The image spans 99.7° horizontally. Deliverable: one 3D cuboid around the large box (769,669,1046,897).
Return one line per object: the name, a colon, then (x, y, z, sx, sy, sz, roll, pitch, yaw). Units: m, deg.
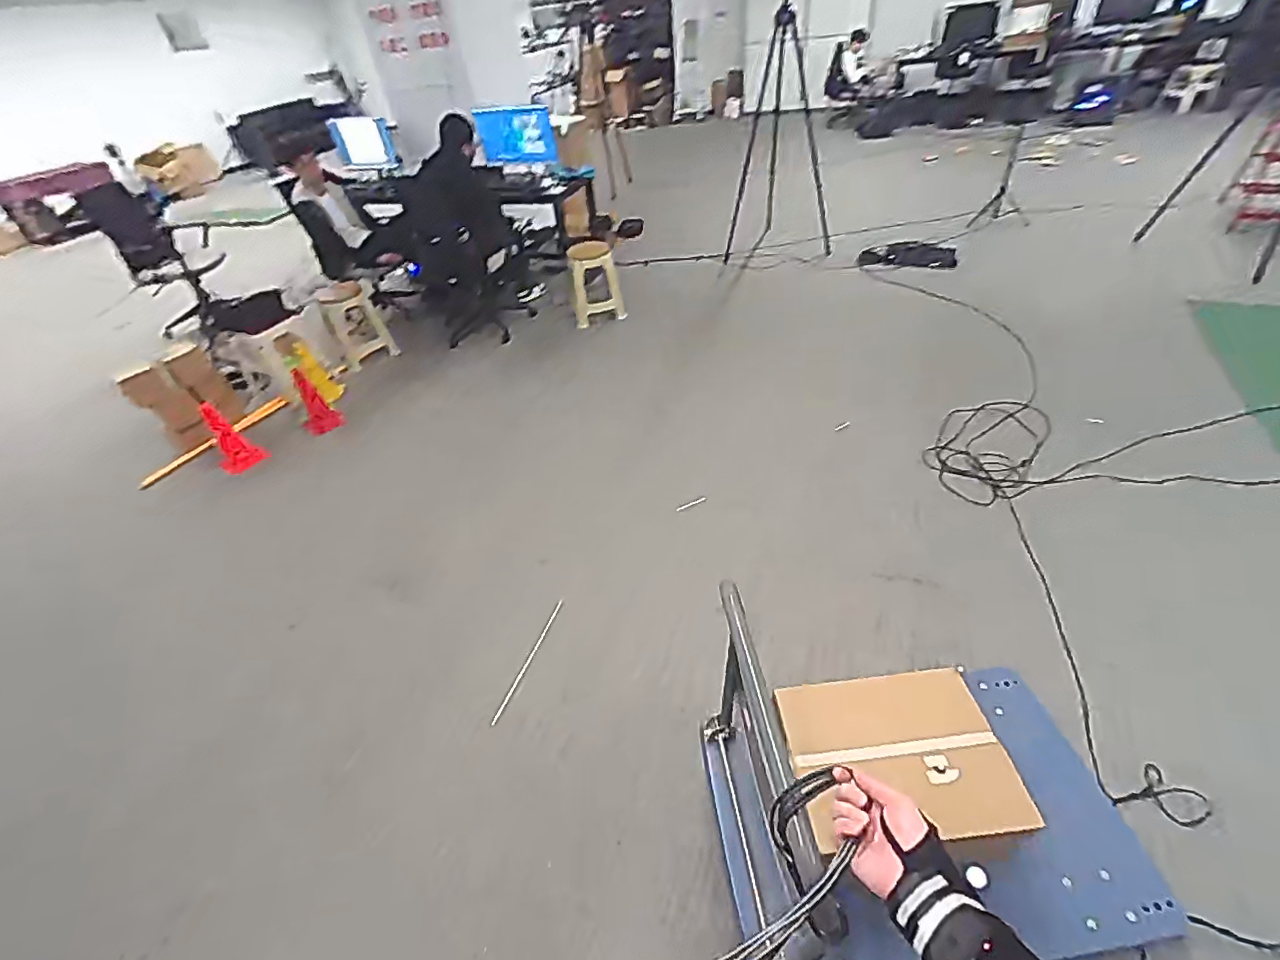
large box: (0.519, 0.645, 1.155, 0.408, 0.320, 0.320, -7, 41, 0)
